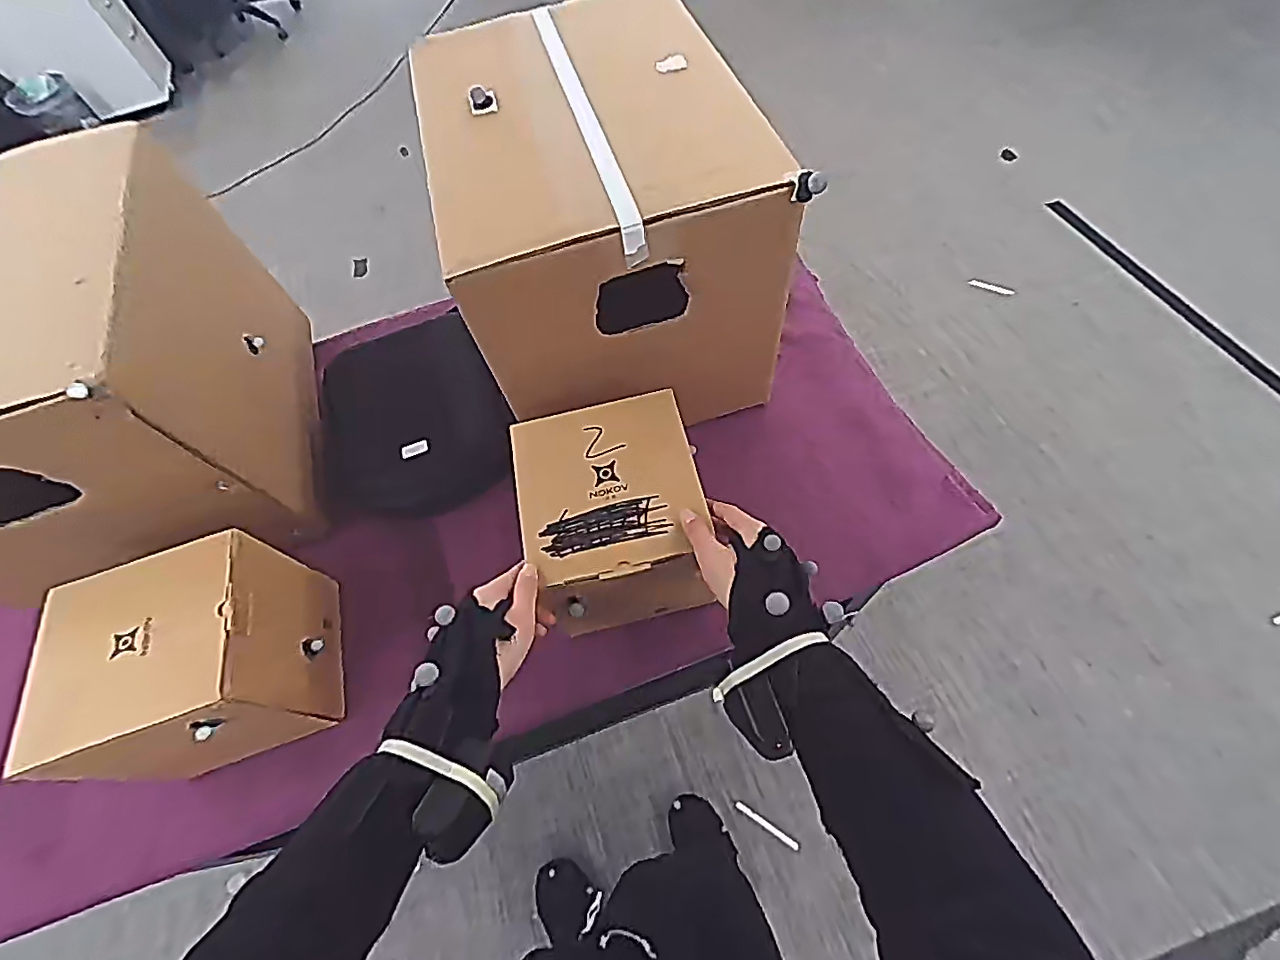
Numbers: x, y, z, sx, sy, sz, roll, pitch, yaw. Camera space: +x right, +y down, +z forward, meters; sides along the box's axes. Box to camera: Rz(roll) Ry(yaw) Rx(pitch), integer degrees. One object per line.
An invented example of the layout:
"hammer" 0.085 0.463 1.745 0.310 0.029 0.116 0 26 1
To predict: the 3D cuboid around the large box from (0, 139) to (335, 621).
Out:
"large box" -0.614 -0.103 0.638 0.320 0.320 0.408 -22 64 -5
